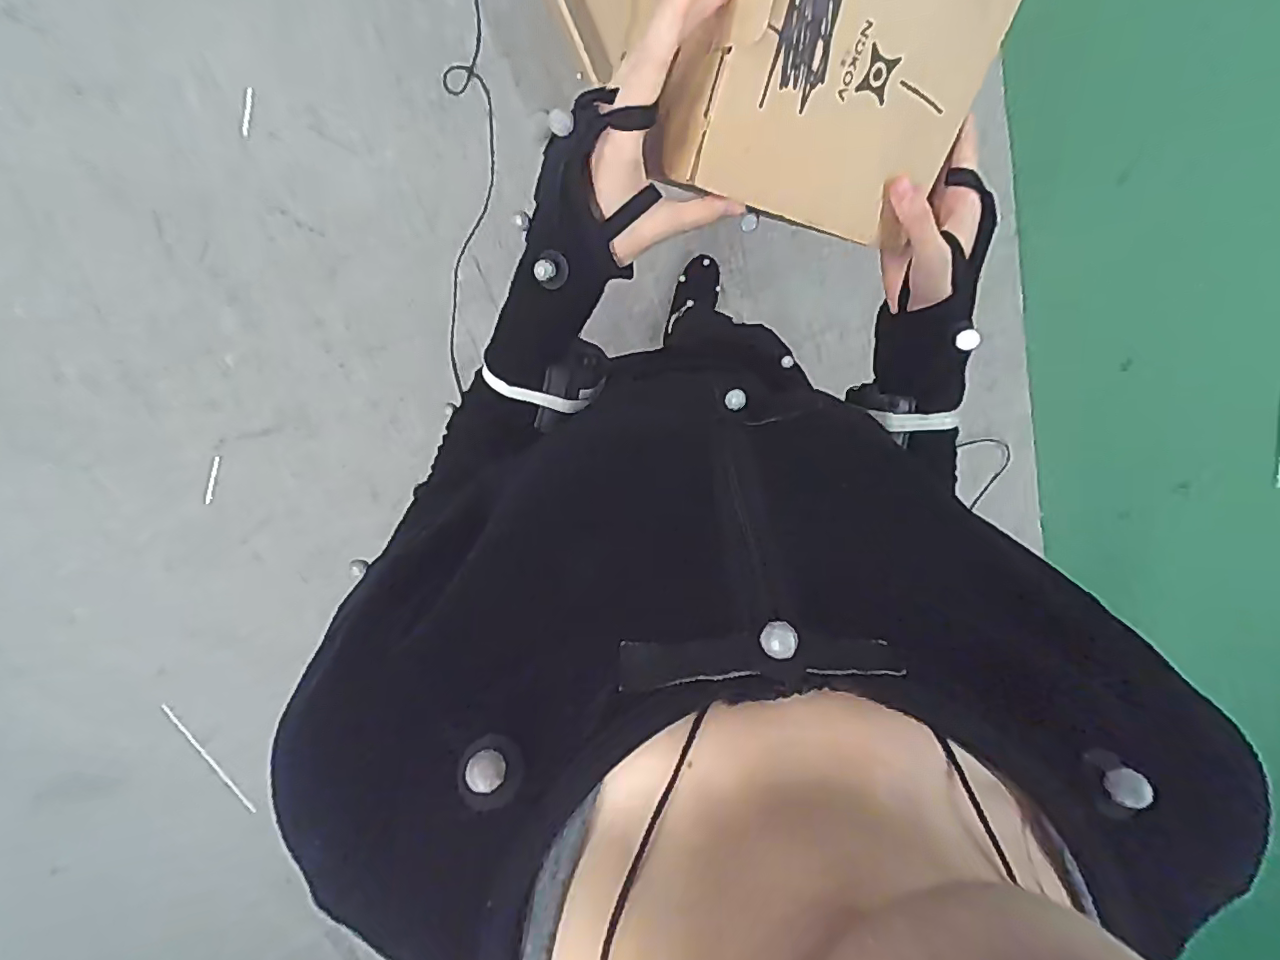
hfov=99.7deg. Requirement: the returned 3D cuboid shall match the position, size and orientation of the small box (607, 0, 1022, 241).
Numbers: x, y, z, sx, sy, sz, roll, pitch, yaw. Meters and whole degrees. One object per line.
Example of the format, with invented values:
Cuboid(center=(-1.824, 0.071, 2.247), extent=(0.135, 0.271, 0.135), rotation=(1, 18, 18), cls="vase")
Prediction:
Cuboid(center=(0.096, -0.274, 0.351), extent=(0.179, 0.176, 0.168), rotation=(2, 121, -28), cls="small box")
